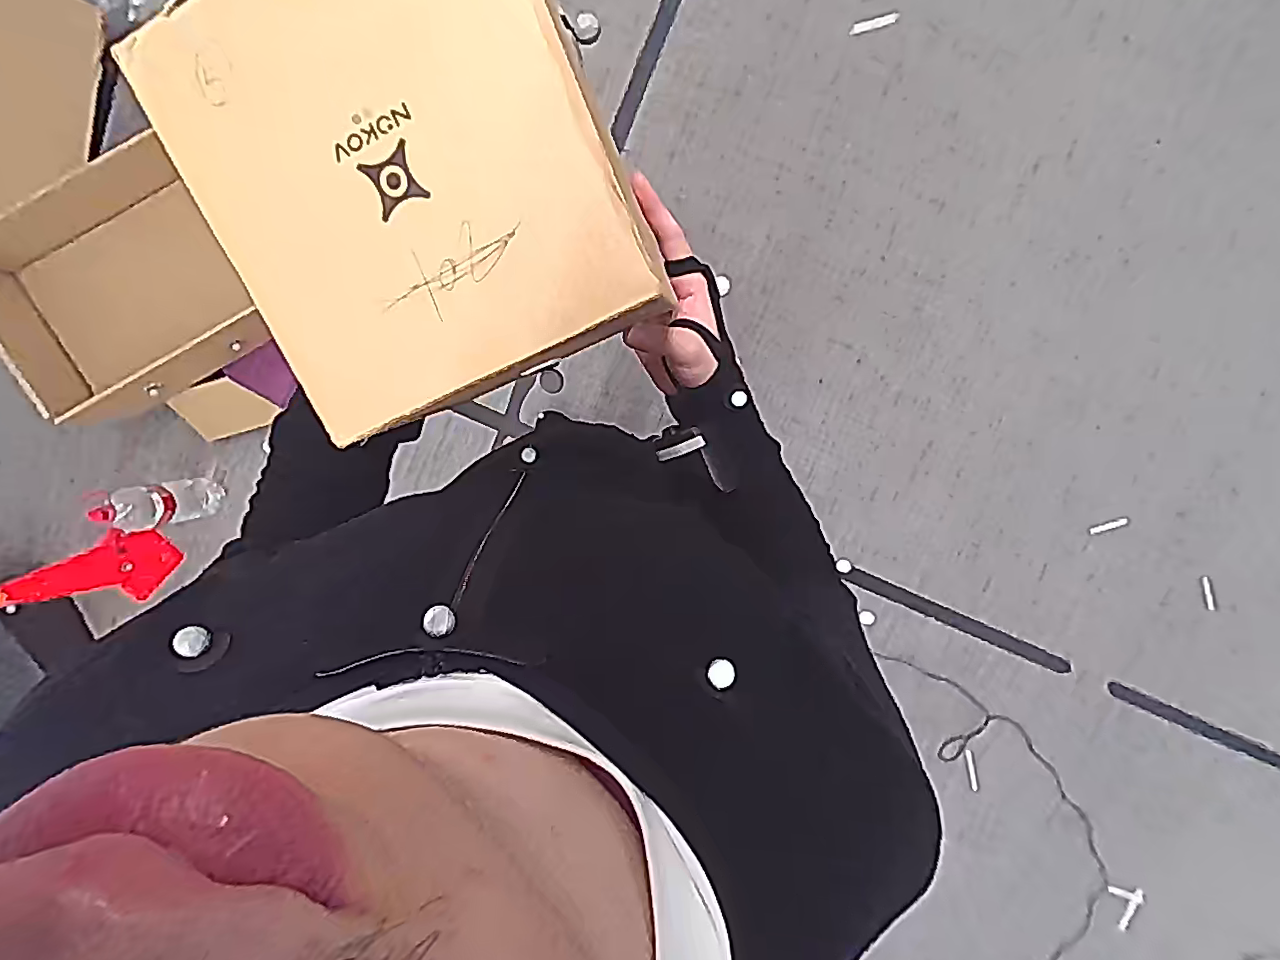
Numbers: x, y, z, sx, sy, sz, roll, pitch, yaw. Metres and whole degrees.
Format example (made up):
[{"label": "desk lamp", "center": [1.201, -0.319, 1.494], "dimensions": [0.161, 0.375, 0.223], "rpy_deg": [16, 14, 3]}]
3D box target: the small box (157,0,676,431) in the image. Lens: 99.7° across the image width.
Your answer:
[{"label": "small box", "center": [-0.087, -0.148, 0.303], "dimensions": [0.168, 0.176, 0.179], "rpy_deg": [-21, 103, 12]}]
